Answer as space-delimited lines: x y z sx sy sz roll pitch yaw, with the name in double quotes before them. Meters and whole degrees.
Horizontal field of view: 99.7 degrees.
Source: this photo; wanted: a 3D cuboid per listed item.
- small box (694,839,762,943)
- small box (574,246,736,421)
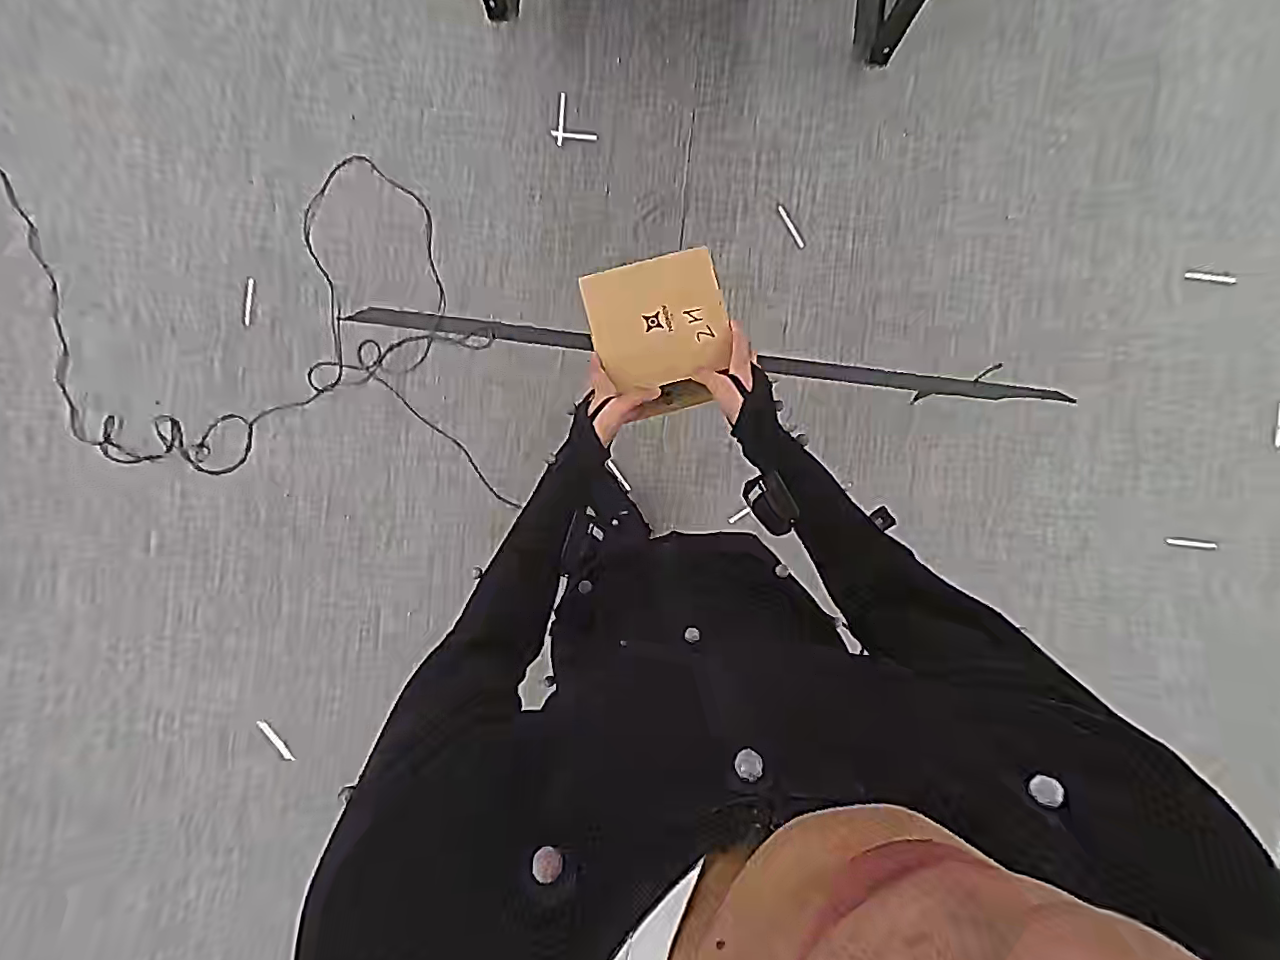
"small box" 0.251 1.194 1.579 0.168 0.176 0.179 3 91 -1
"small box" 0.019 -0.191 0.758 0.179 0.176 0.168 -15 85 -2
